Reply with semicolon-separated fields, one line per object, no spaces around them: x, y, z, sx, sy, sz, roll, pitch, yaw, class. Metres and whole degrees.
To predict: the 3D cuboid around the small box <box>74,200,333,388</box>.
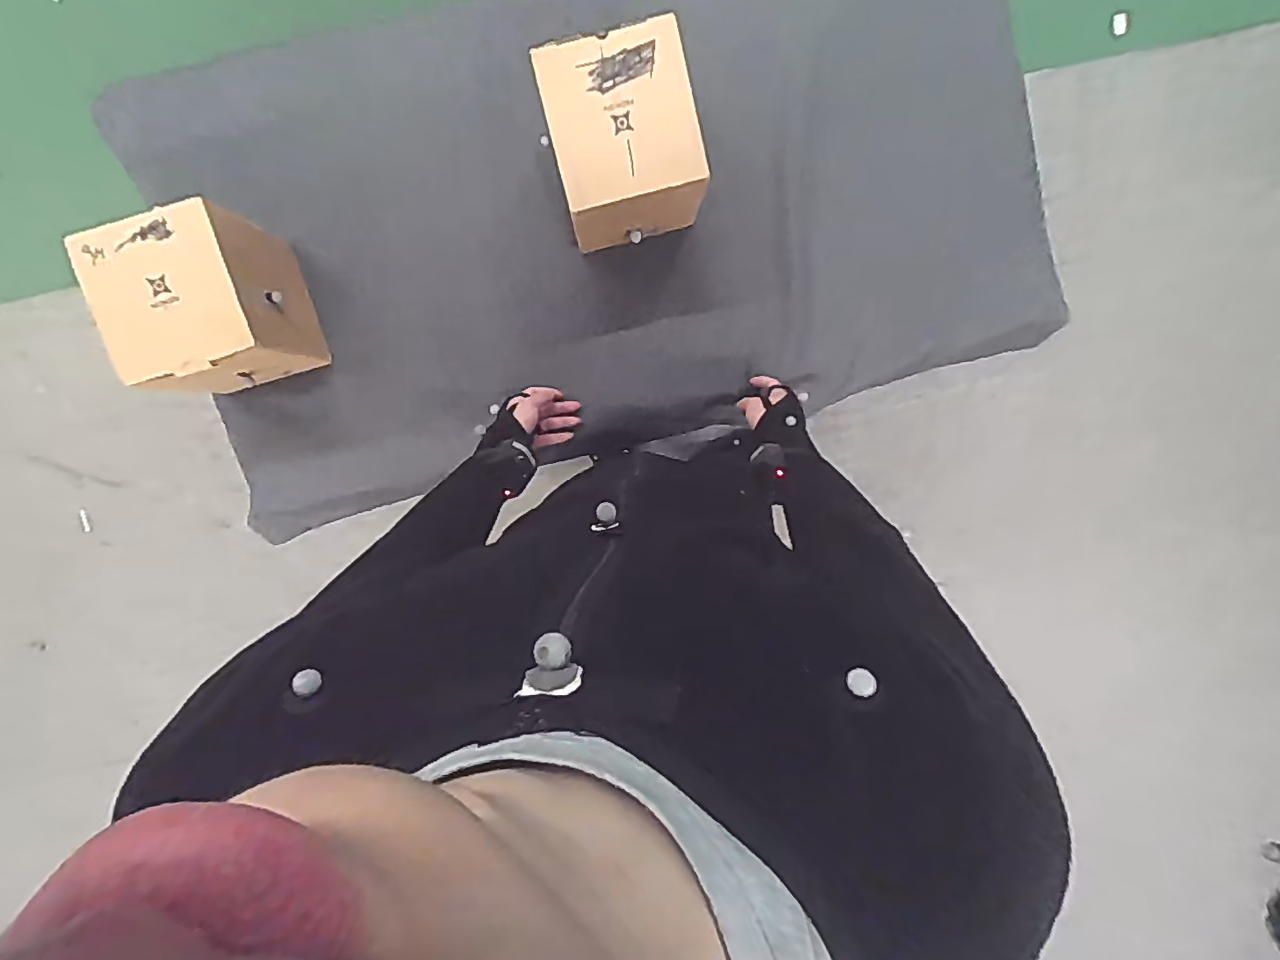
-0.538;-0.224;0.698;0.168;0.176;0.179;-16;98;0;small box

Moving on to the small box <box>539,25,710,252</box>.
-0.020;-0.417;0.690;0.168;0.176;0.179;-14;99;0;small box
